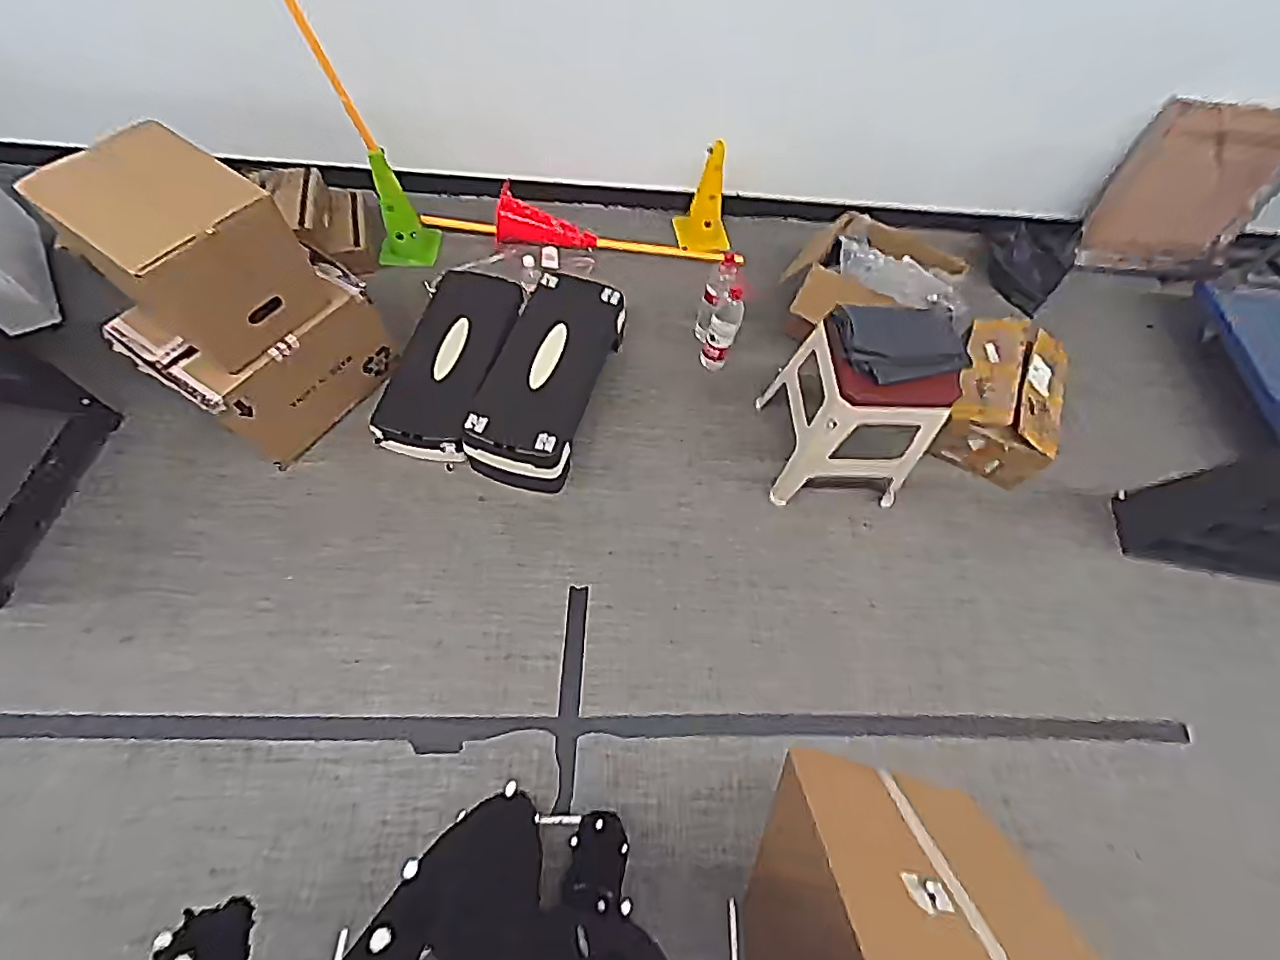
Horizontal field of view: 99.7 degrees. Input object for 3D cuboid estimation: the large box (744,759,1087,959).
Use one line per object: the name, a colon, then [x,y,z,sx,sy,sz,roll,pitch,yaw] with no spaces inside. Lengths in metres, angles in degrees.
large box: [0.348,0.666,0.712,0.320,0.408,0.320,15,97,3]
